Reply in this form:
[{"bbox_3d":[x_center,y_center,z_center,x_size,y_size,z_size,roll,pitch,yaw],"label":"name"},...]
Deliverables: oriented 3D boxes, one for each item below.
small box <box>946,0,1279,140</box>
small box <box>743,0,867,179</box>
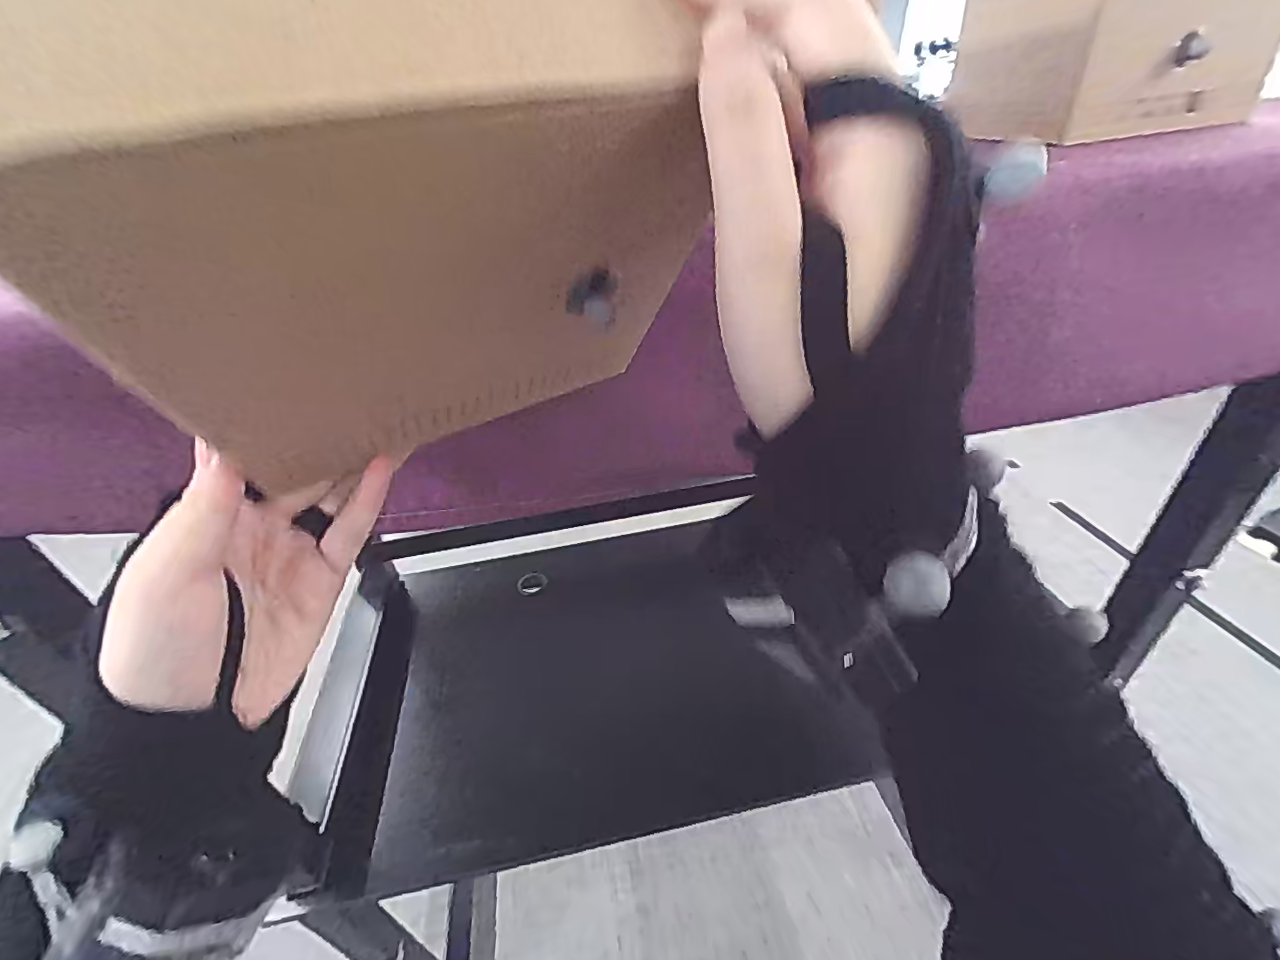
[{"bbox_3d":[0.396,-0.395,0.459,0.168,0.176,0.179,-9,35,-2],"label":"small box"},{"bbox_3d":[0.068,-0.344,0.440,0.168,0.176,0.179,-13,34,-10],"label":"small box"}]
